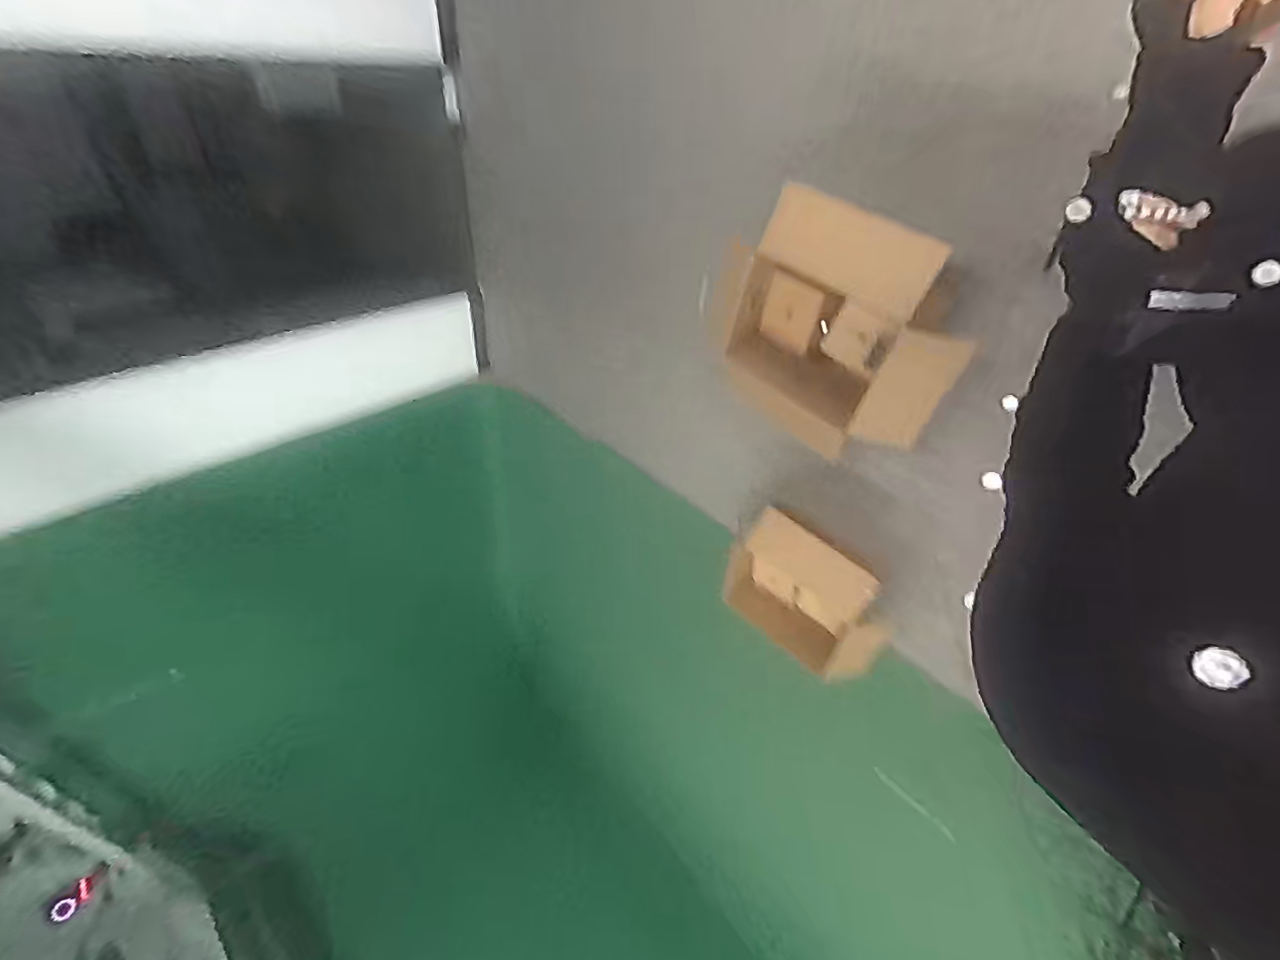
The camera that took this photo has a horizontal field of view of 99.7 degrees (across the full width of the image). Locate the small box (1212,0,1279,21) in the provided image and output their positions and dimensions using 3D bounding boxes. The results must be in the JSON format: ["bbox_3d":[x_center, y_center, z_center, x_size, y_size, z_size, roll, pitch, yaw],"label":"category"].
[{"bbox_3d":[0.393,-0.389,0.281,0.168,0.176,0.179,-24,94,50],"label":"small box"}]
